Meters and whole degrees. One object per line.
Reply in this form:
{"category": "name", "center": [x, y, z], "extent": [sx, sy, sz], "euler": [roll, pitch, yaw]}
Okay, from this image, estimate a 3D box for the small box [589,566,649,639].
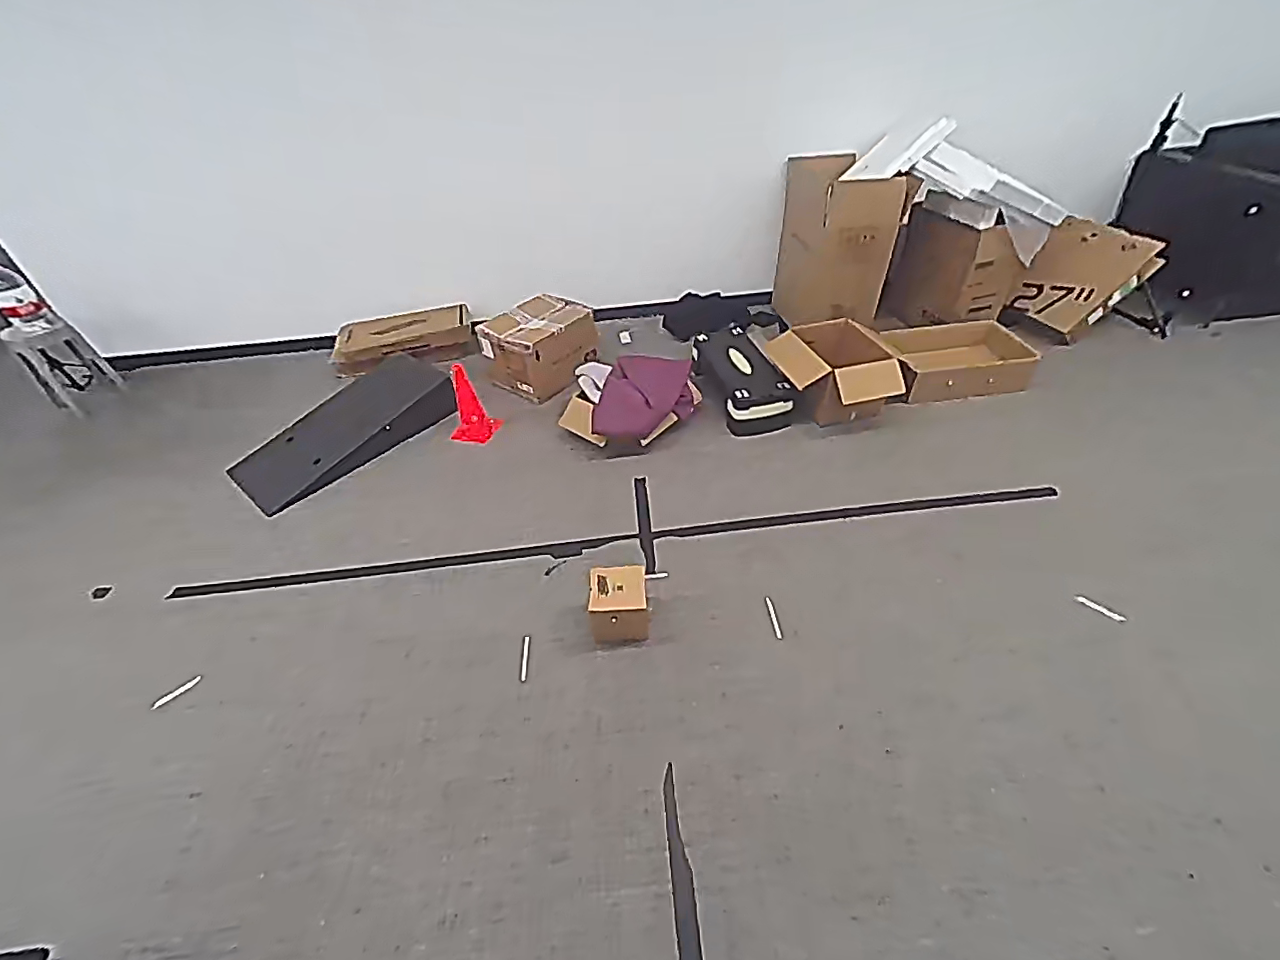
{"category": "small box", "center": [-0.063, 0.393, 1.723], "extent": [0.179, 0.176, 0.168], "euler": [-3, 42, 1]}
